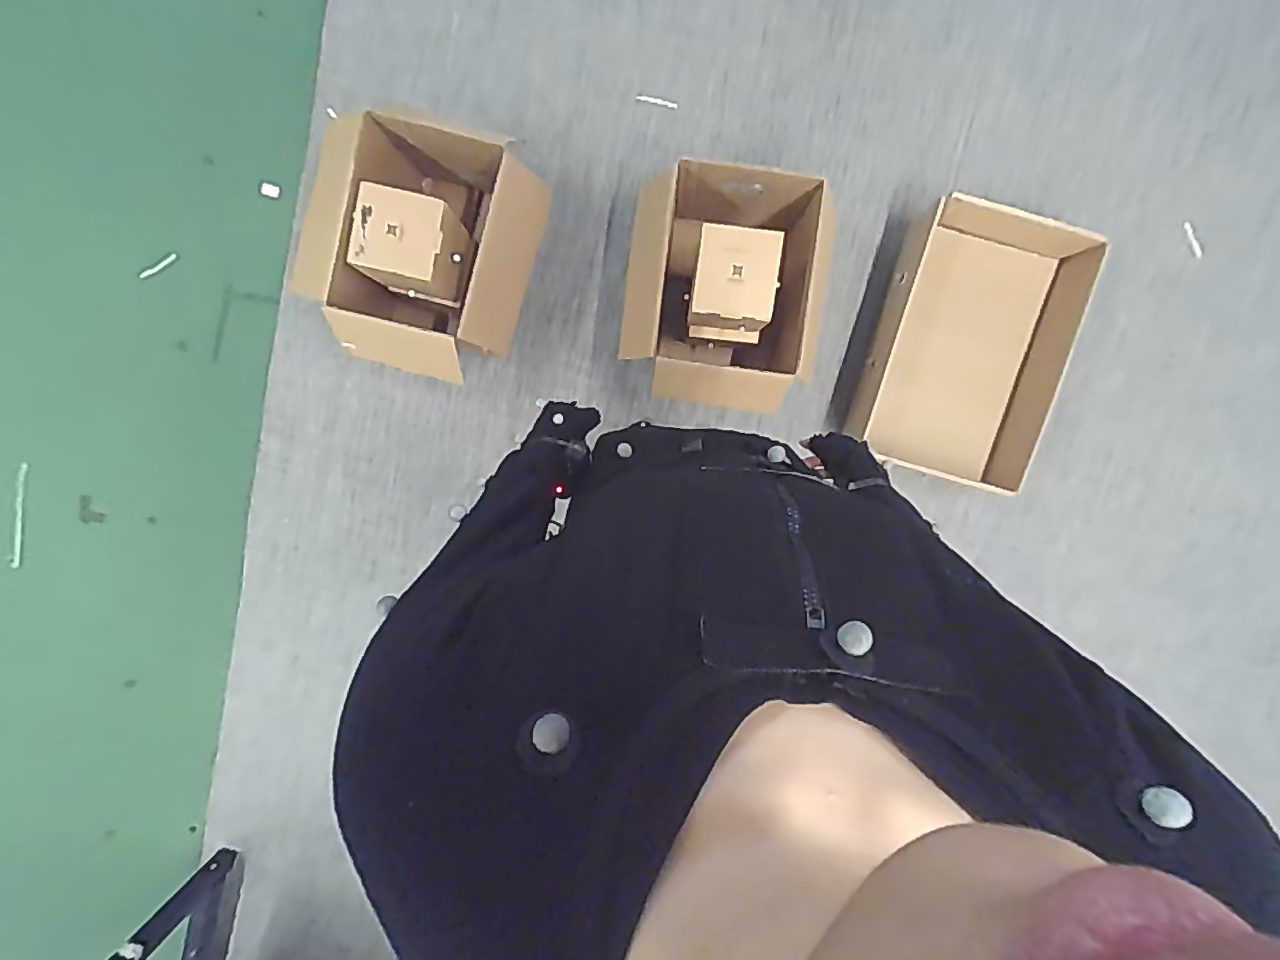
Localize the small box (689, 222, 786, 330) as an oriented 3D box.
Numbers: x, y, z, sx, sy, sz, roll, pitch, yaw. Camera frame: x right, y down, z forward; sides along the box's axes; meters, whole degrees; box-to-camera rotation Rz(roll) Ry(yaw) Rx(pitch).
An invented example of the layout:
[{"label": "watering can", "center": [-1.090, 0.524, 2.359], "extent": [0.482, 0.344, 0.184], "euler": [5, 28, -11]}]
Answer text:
[{"label": "small box", "center": [0.199, -0.425, 1.157], "extent": [0.168, 0.176, 0.179], "euler": [7, 97, 0]}]
